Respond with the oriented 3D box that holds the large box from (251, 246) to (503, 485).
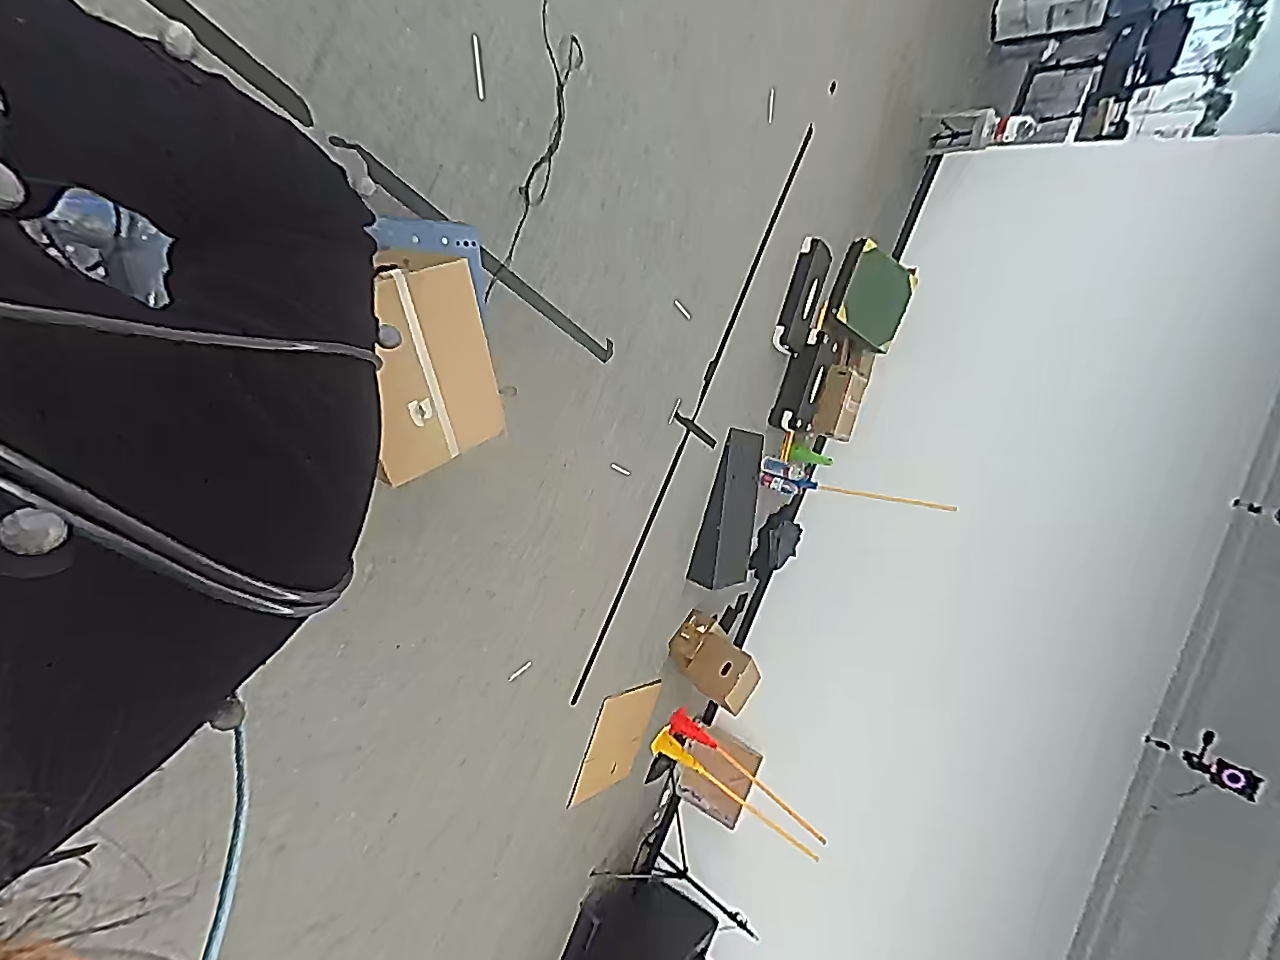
[{"bbox_3d":[-0.560,-0.267,1.201,0.320,0.320,0.408,-36,135,-37],"label":"large box"}]
